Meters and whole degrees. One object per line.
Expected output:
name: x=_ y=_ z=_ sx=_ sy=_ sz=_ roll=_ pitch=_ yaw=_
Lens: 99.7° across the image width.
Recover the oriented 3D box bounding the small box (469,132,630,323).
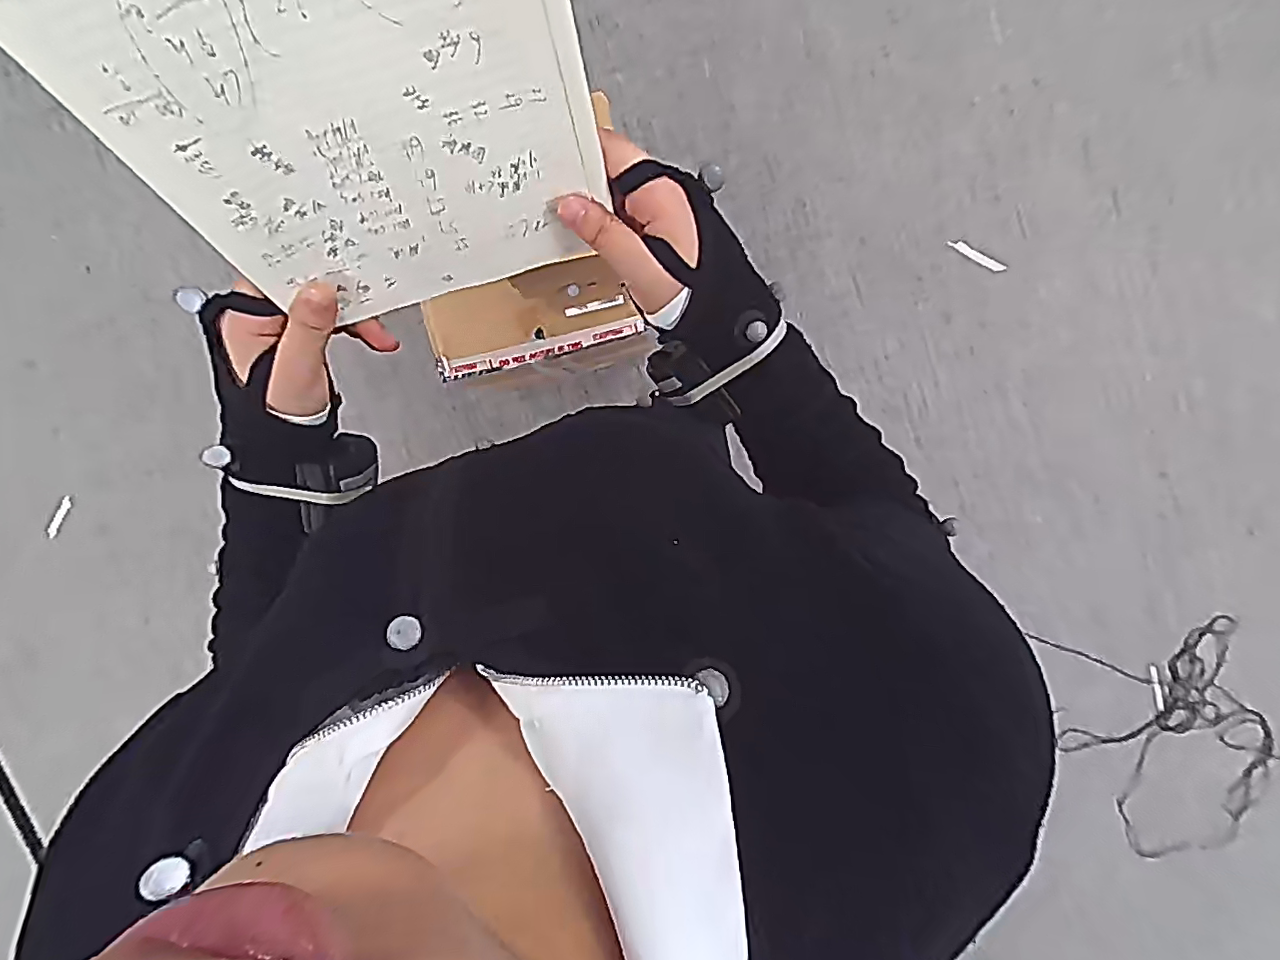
small box: x=-0.111 y=-0.323 z=0.725 sx=0.168 sy=0.176 sz=0.179 roll=-11 pitch=99 yaw=-1

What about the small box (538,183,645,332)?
small box: x=-0.099 y=-0.353 z=0.888 sx=0.179 sy=0.176 sz=0.168 roll=-15 pitch=98 yaw=1
